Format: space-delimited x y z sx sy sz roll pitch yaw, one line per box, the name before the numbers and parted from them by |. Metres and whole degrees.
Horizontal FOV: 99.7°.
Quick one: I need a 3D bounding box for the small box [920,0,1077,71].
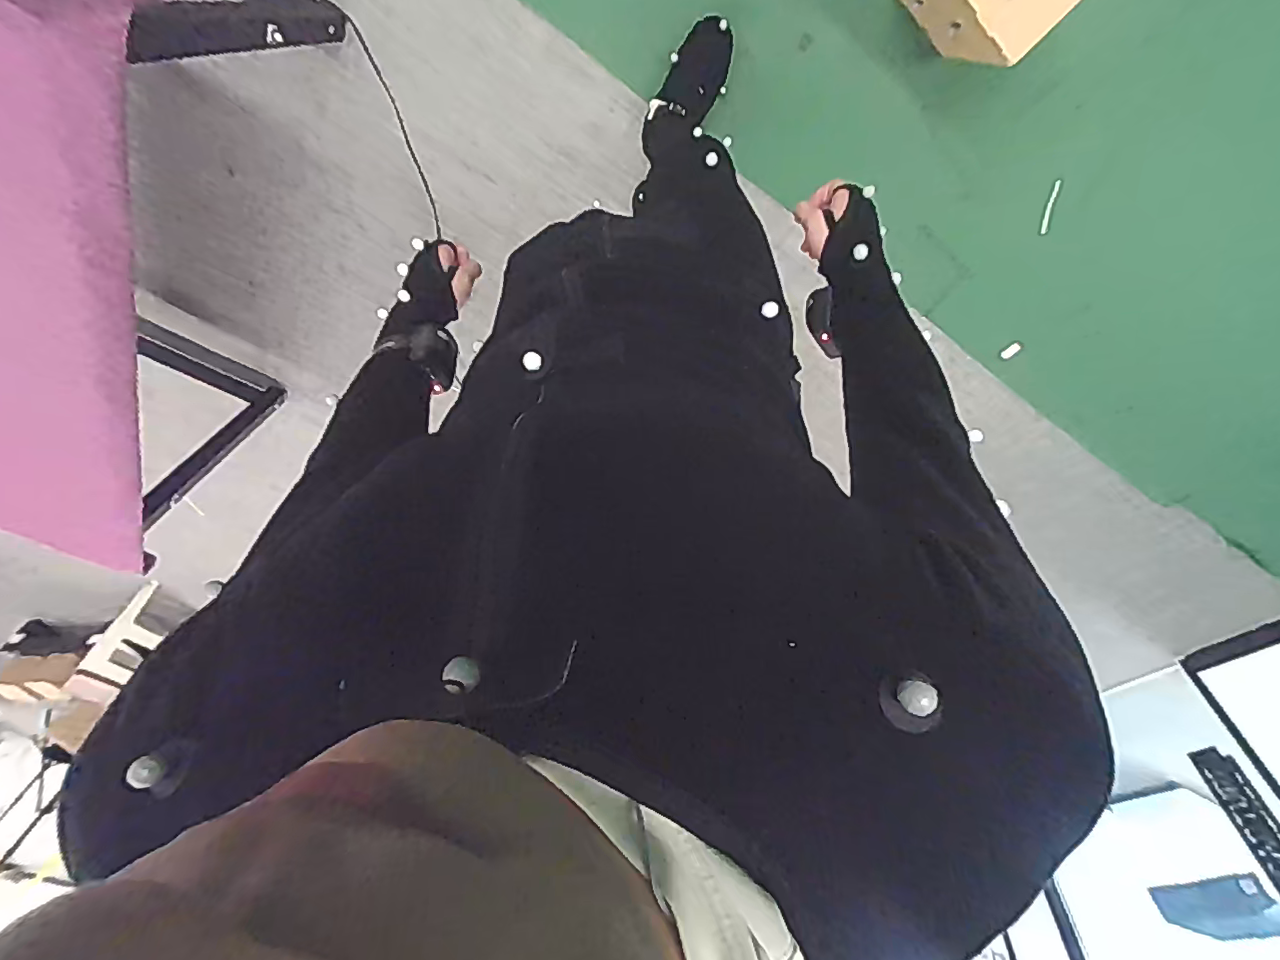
small box | 0.586 -0.804 0.862 0.168 0.176 0.179 34 126 -21
